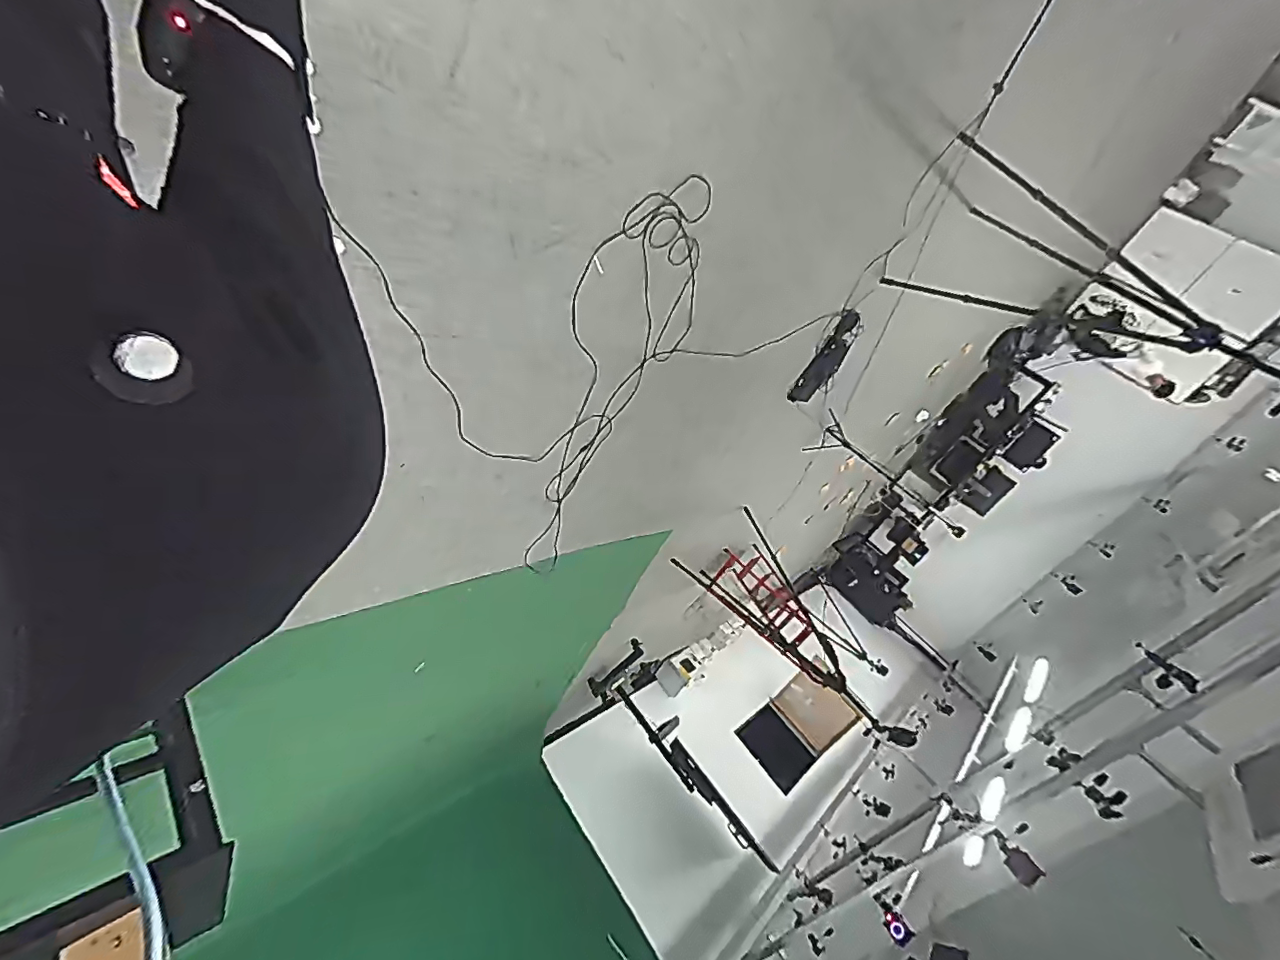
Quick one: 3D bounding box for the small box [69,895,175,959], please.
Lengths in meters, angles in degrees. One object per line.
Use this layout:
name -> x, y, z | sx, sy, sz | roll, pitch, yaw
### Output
small box -> -1.320, 1.215, 1.385 | 0.168, 0.176, 0.179 | -16, 142, -41
